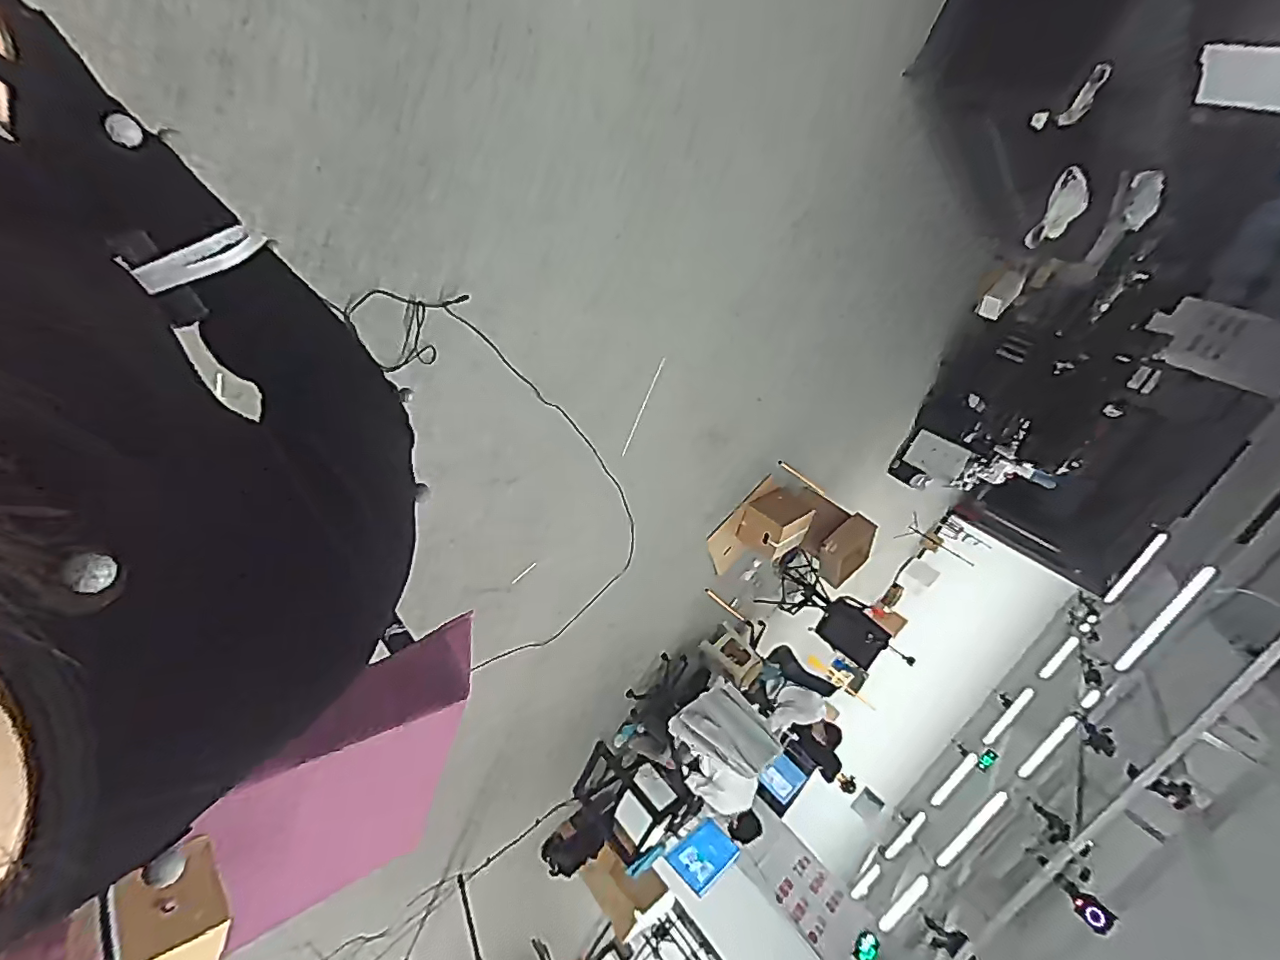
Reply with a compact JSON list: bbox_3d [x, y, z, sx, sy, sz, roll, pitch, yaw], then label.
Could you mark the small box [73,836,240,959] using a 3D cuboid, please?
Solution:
[{"bbox_3d":[-0.816,0.756,0.913,0.179,0.176,0.168,1,120,-52],"label":"small box"}]
